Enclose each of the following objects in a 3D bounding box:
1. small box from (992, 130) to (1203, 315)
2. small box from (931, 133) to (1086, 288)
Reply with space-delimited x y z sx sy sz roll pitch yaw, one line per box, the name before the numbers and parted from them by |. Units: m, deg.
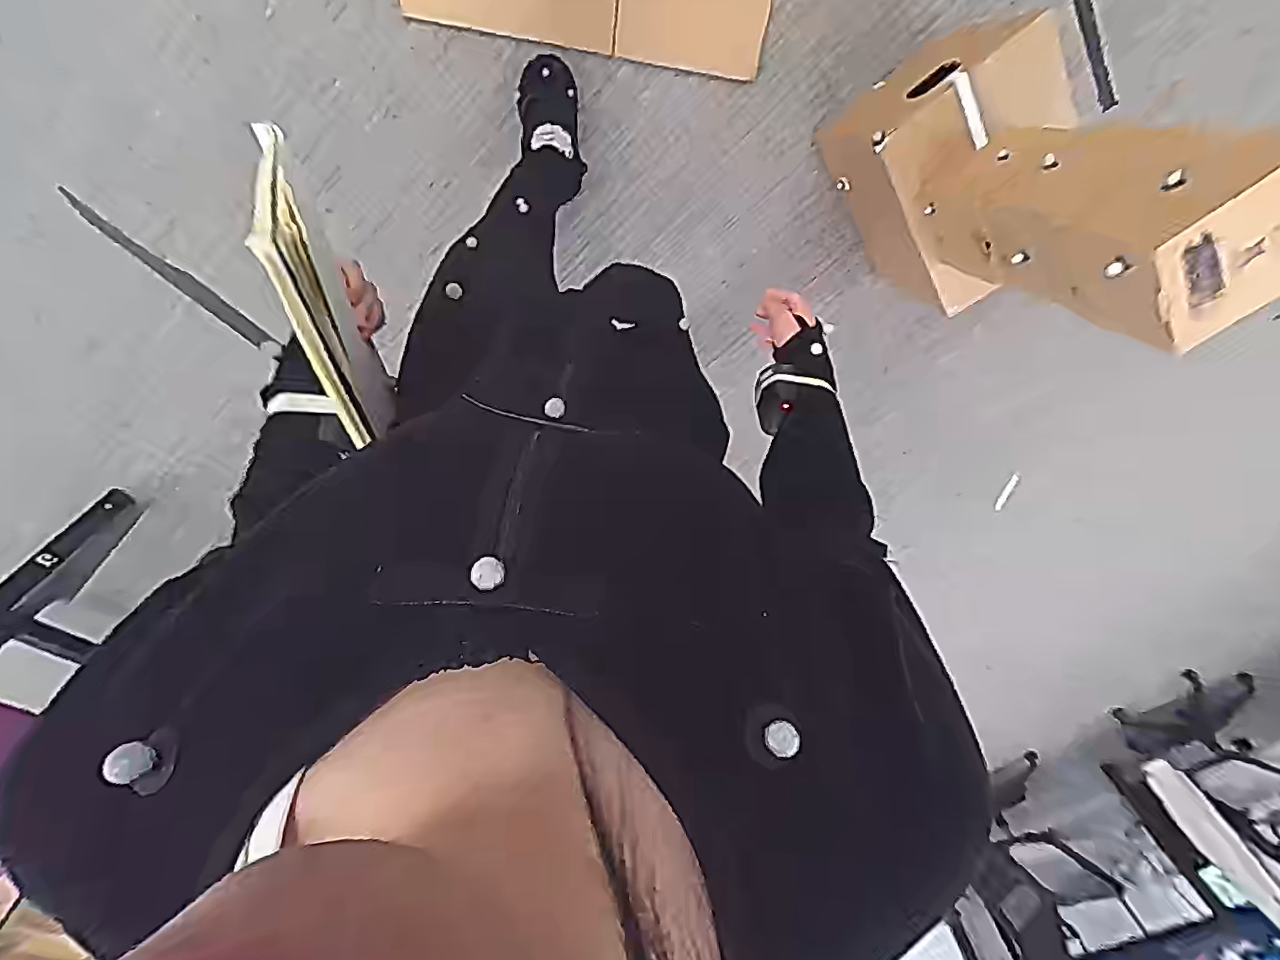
small box | 0.663 -0.384 0.805 0.179 0.176 0.168 -34 122 17
small box | 0.639 -0.471 0.942 0.179 0.176 0.168 -32 122 14
